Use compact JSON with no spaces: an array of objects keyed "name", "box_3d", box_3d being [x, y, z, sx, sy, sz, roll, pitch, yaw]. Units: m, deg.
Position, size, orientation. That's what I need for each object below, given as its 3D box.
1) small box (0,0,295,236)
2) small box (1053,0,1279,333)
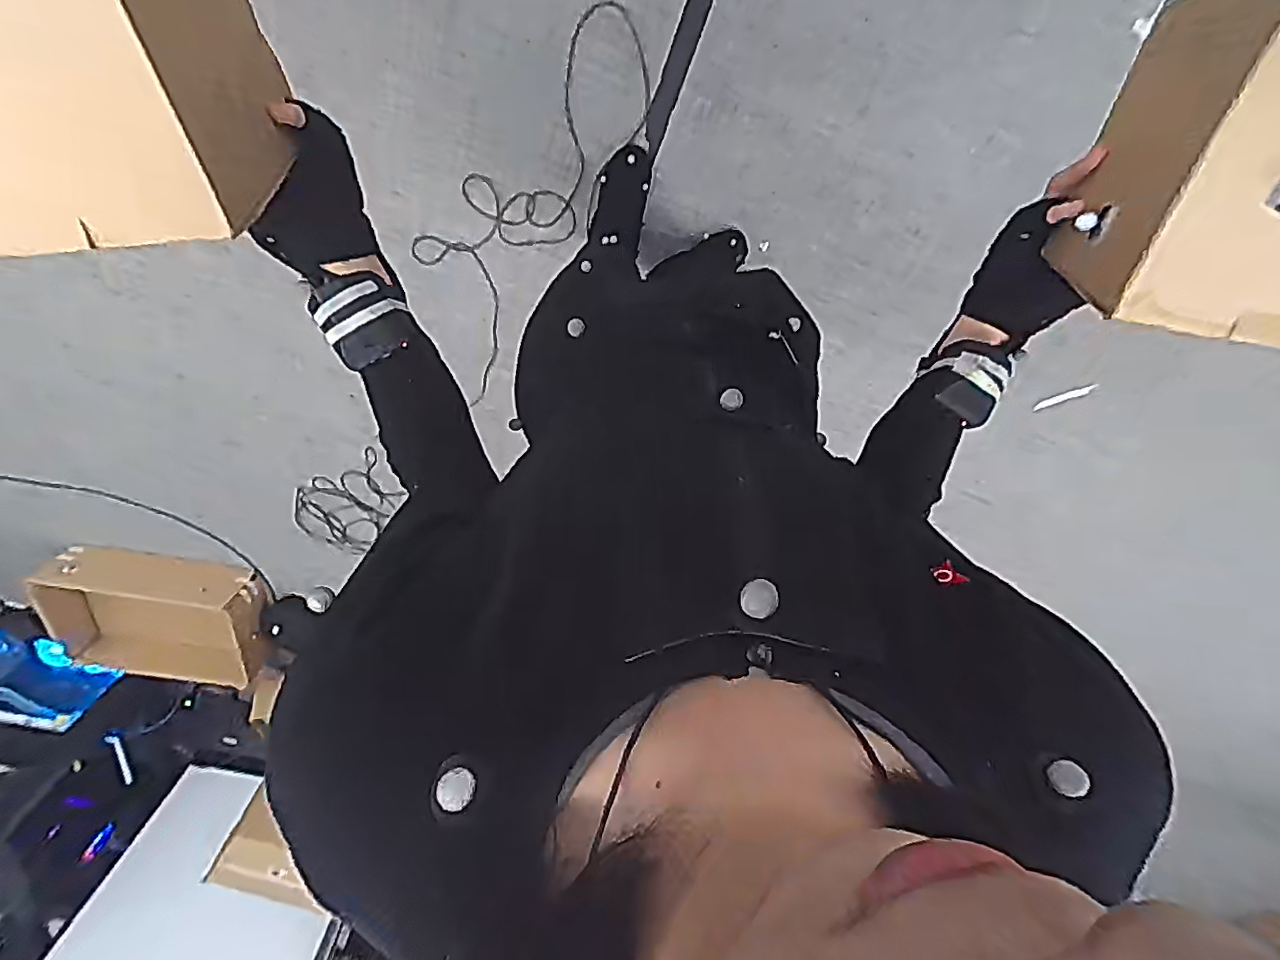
[{"name":"small box","box_3d":[-0.296,-0.228,0.245,0.168,0.179,0.176,-8,136,-10]},{"name":"small box","box_3d":[0.391,-0.191,0.313,0.168,0.179,0.176,16,129,14]}]
